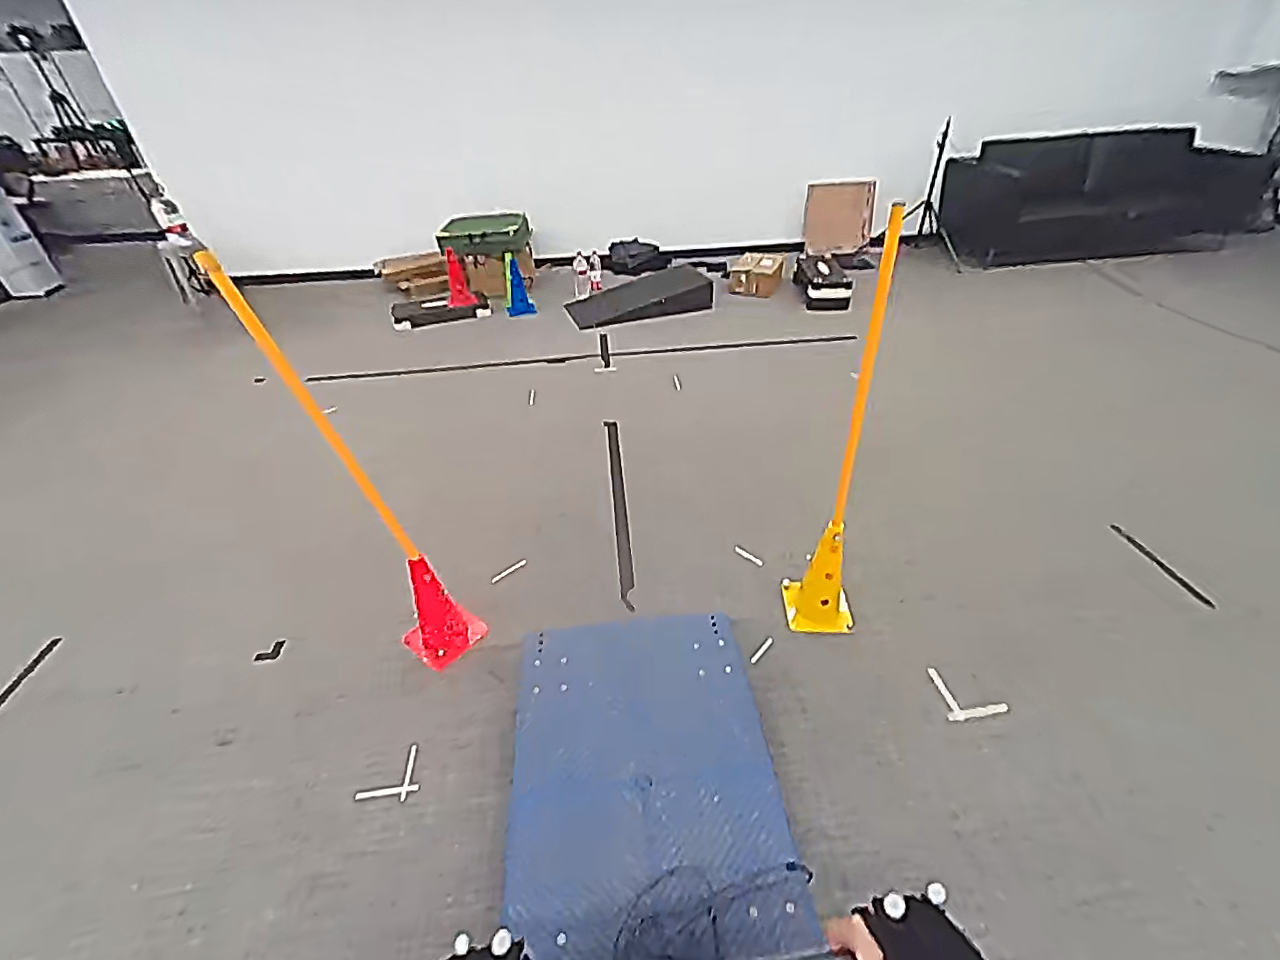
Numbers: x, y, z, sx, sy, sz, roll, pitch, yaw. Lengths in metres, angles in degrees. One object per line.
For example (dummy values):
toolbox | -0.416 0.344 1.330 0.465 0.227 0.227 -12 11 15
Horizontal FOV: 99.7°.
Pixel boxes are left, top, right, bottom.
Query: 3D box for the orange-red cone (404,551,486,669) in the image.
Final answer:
orange-red cone | -0.613 0.347 1.598 0.198 0.360 0.199 26 44 30
